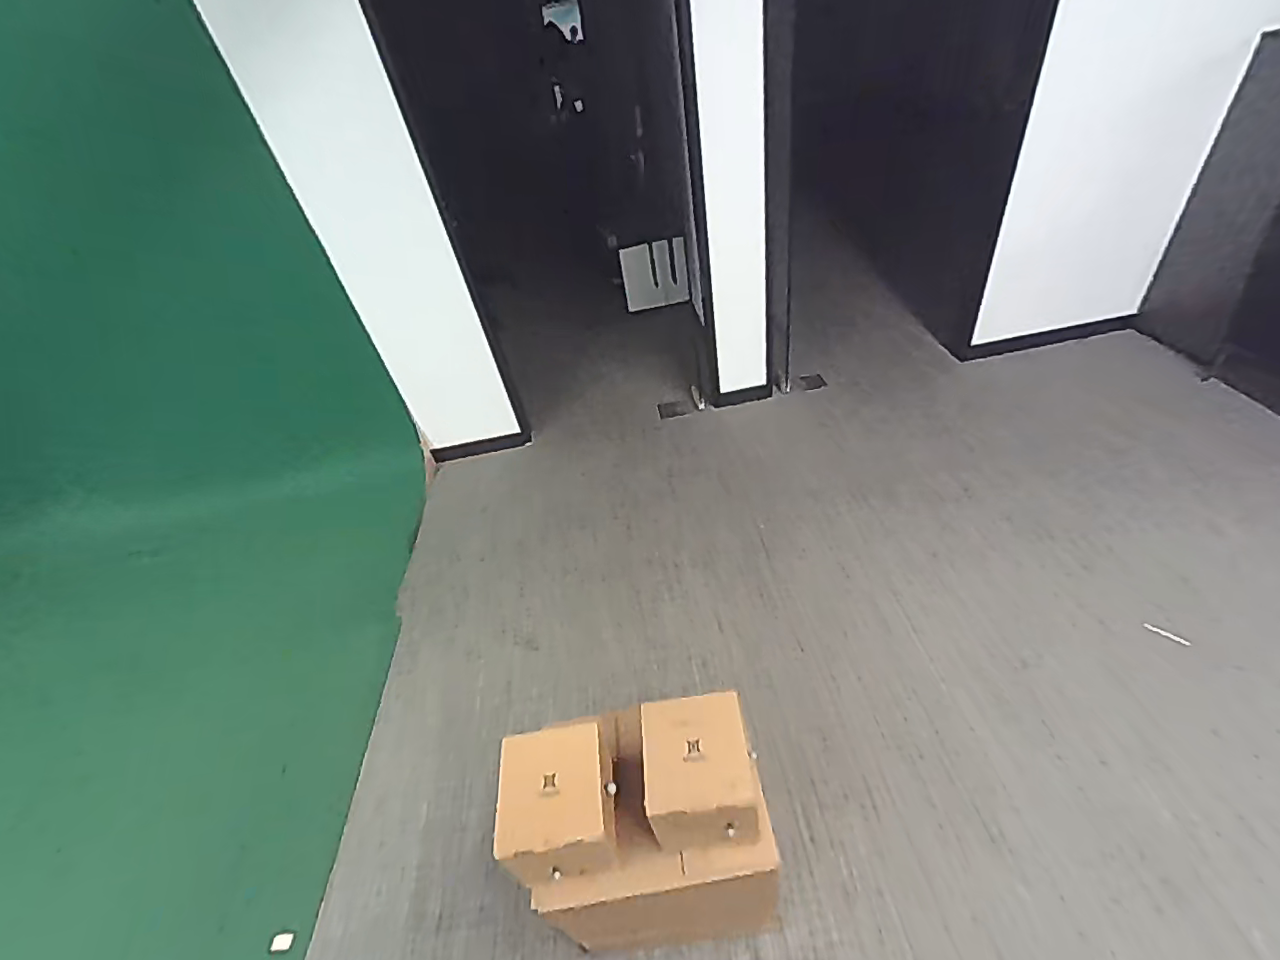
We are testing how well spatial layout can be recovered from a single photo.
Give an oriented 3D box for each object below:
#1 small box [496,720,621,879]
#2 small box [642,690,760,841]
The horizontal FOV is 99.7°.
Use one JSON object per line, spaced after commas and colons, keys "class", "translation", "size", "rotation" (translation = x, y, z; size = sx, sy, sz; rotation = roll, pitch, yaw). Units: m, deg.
{"class": "small box", "translation": [-0.130, 0.534, 0.905], "size": [0.168, 0.176, 0.179], "rotation": [-11, 43, 1]}
{"class": "small box", "translation": [0.101, 0.481, 0.903], "size": [0.168, 0.176, 0.179], "rotation": [-9, 40, 5]}
